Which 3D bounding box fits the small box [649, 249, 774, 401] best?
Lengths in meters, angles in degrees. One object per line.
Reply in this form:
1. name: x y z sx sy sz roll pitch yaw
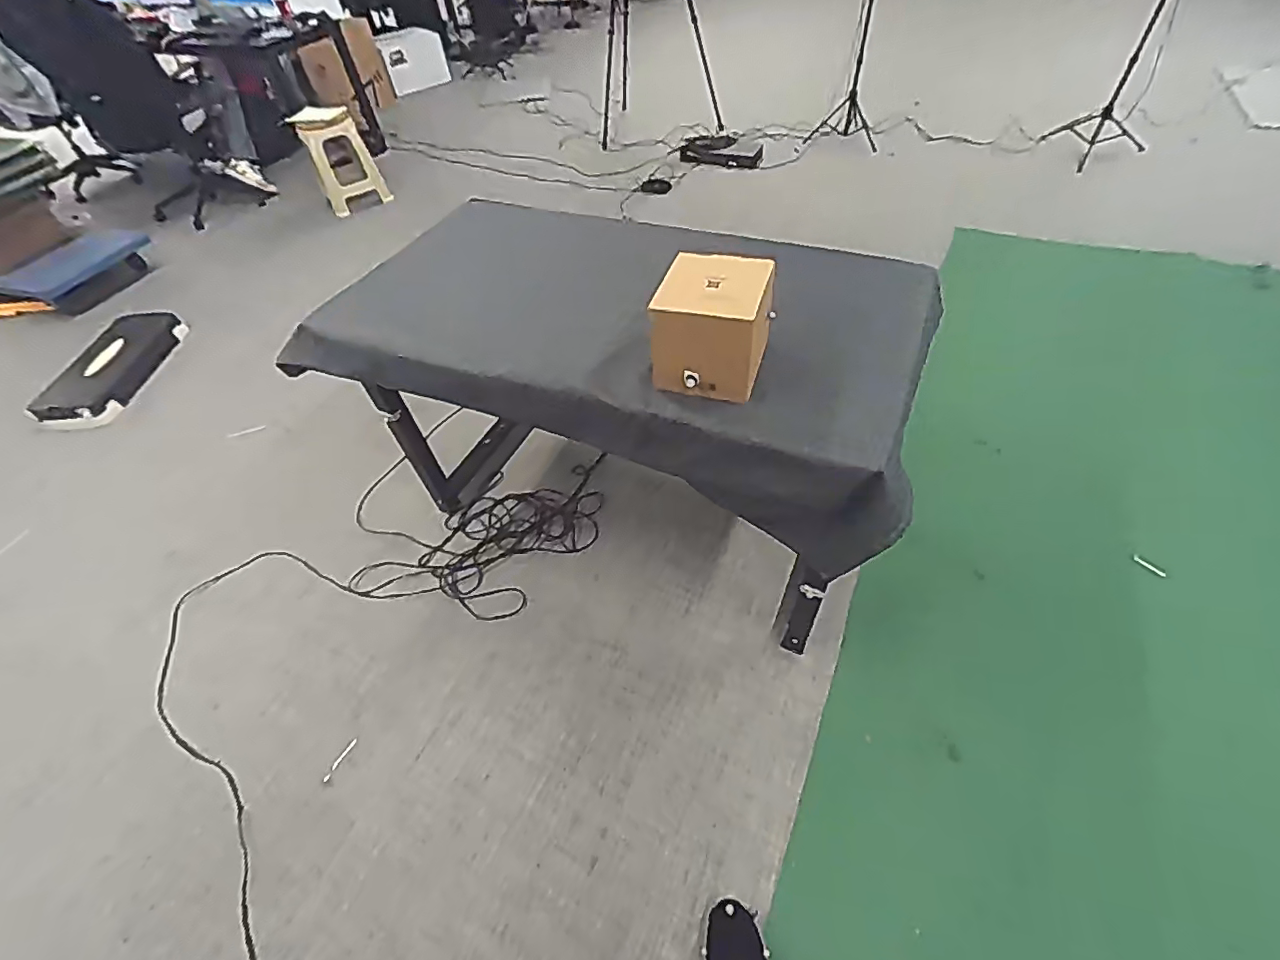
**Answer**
1. small box: 0.121 -0.260 0.910 0.168 0.176 0.179 11 53 15
